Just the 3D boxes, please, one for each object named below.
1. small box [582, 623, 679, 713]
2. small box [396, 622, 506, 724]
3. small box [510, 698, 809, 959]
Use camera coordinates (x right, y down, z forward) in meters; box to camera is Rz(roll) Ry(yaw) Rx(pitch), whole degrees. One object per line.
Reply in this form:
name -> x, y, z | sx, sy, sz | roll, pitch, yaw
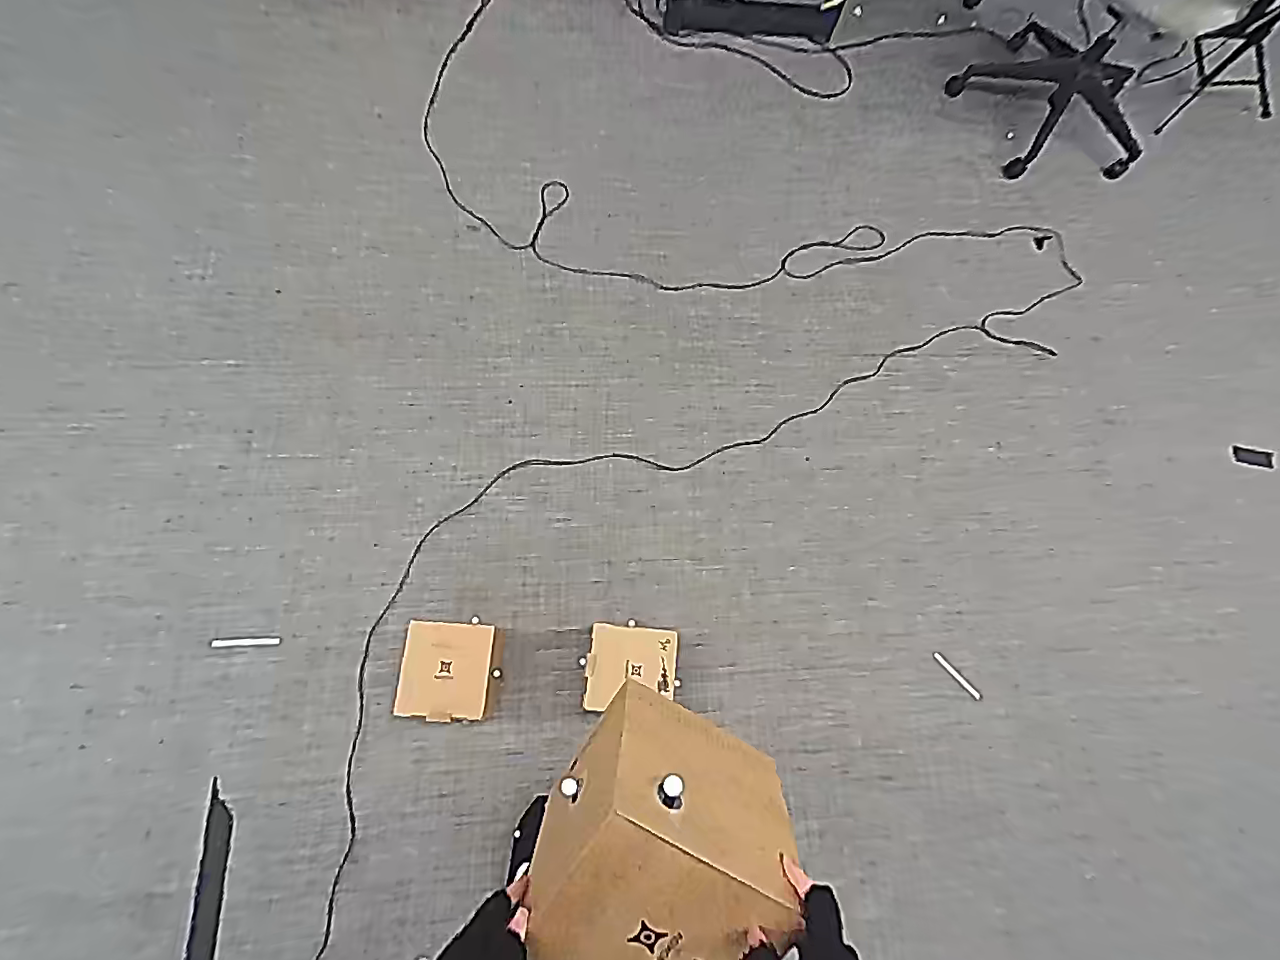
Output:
small box -> -0.023, 0.399, 1.140 | 0.179, 0.176, 0.168 | 8, 74, -3
small box -> -0.376, 0.388, 1.110 | 0.168, 0.176, 0.179 | 6, 73, -4
small box -> 0.016, 0.332, 0.490 | 0.179, 0.176, 0.168 | 31, 102, -4
